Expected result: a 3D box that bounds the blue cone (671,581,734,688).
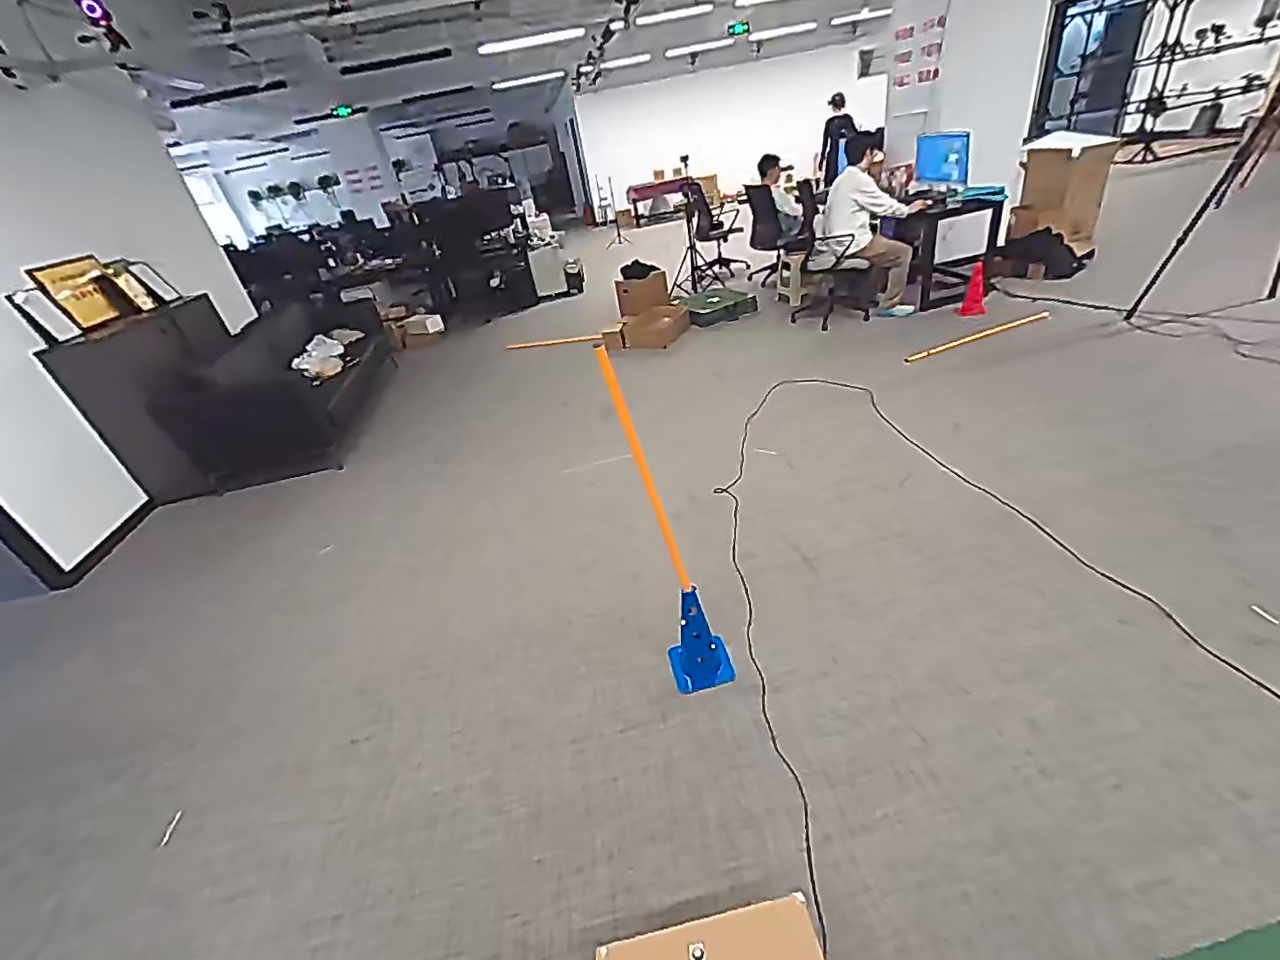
[{"bbox_3d":[0.181,0.485,1.769,0.193,0.380,0.192,-17,32,-5],"label":"blue cone"}]
